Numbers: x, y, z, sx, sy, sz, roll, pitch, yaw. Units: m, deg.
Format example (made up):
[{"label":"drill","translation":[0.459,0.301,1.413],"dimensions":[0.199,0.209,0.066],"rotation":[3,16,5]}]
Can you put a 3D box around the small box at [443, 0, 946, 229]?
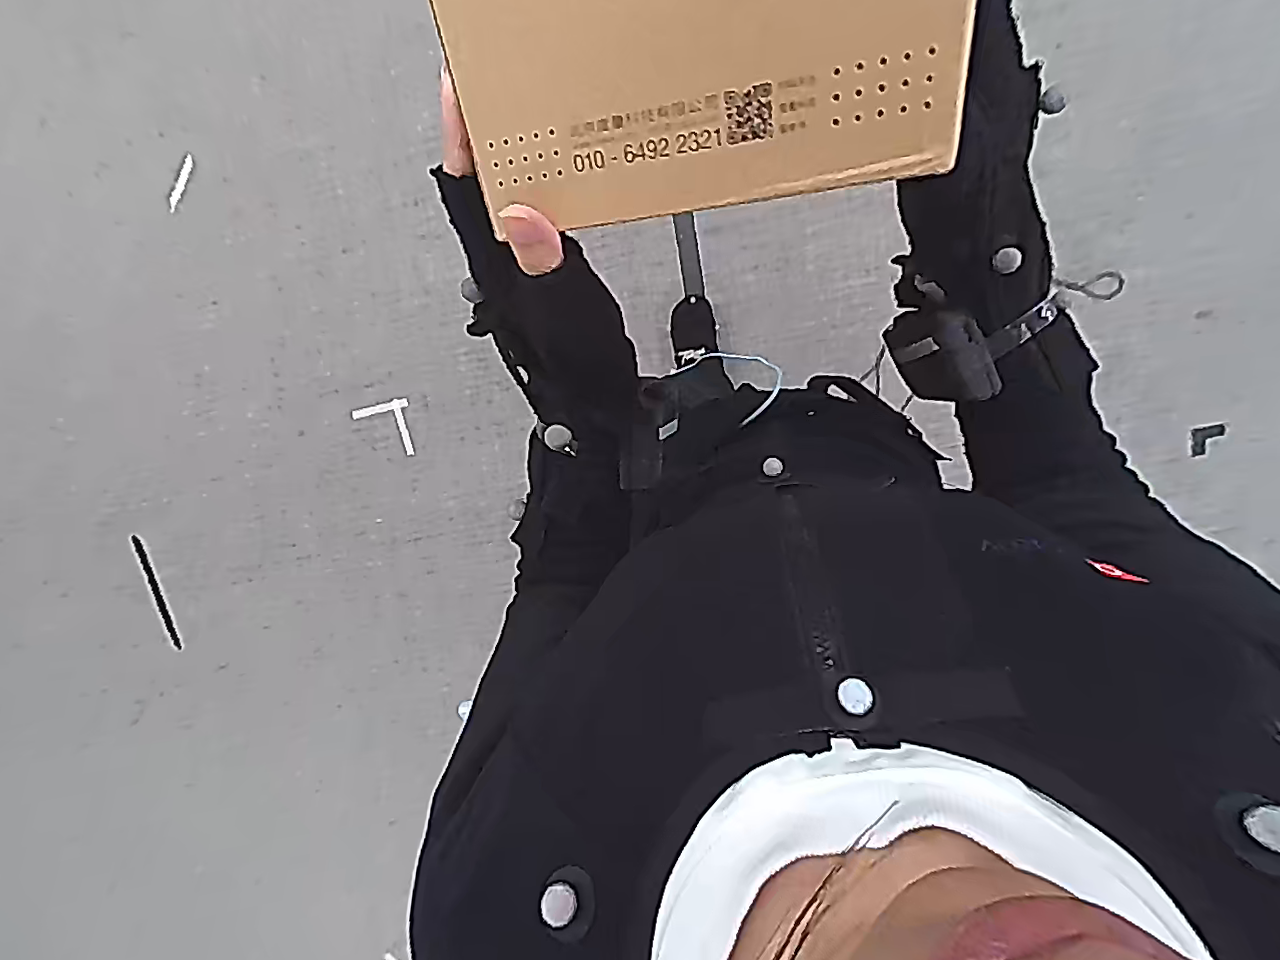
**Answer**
[{"label":"small box","translation":[0.030,-0.212,0.225],"dimensions":[0.168,0.179,0.176],"rotation":[2,123,21]}]
